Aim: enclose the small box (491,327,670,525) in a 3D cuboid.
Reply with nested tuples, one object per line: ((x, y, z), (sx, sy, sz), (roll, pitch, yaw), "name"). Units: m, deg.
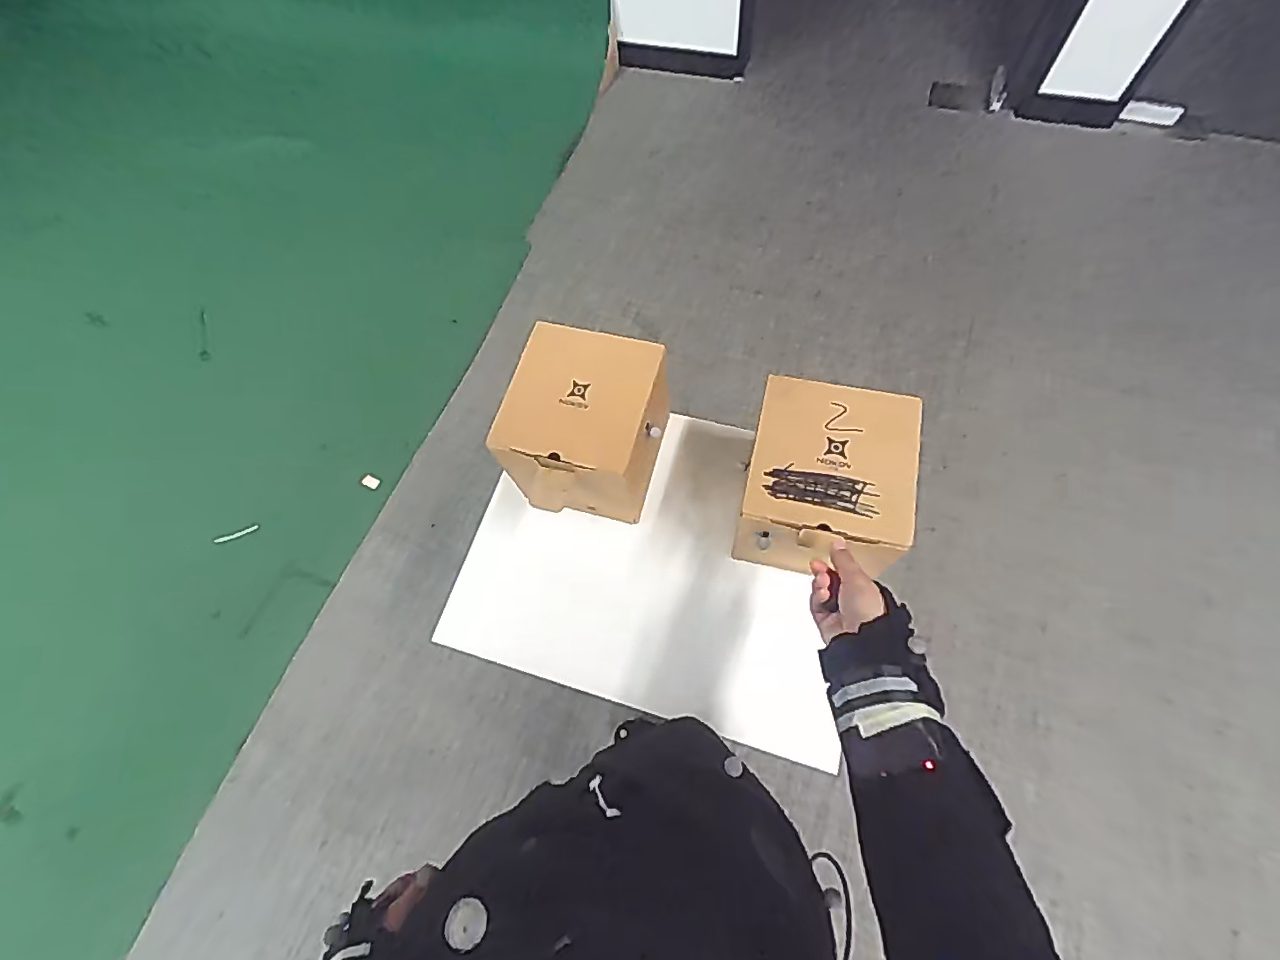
((-0.062, -0.062, 0.694), (0.168, 0.176, 0.179), (13, 70, 10), "small box")
